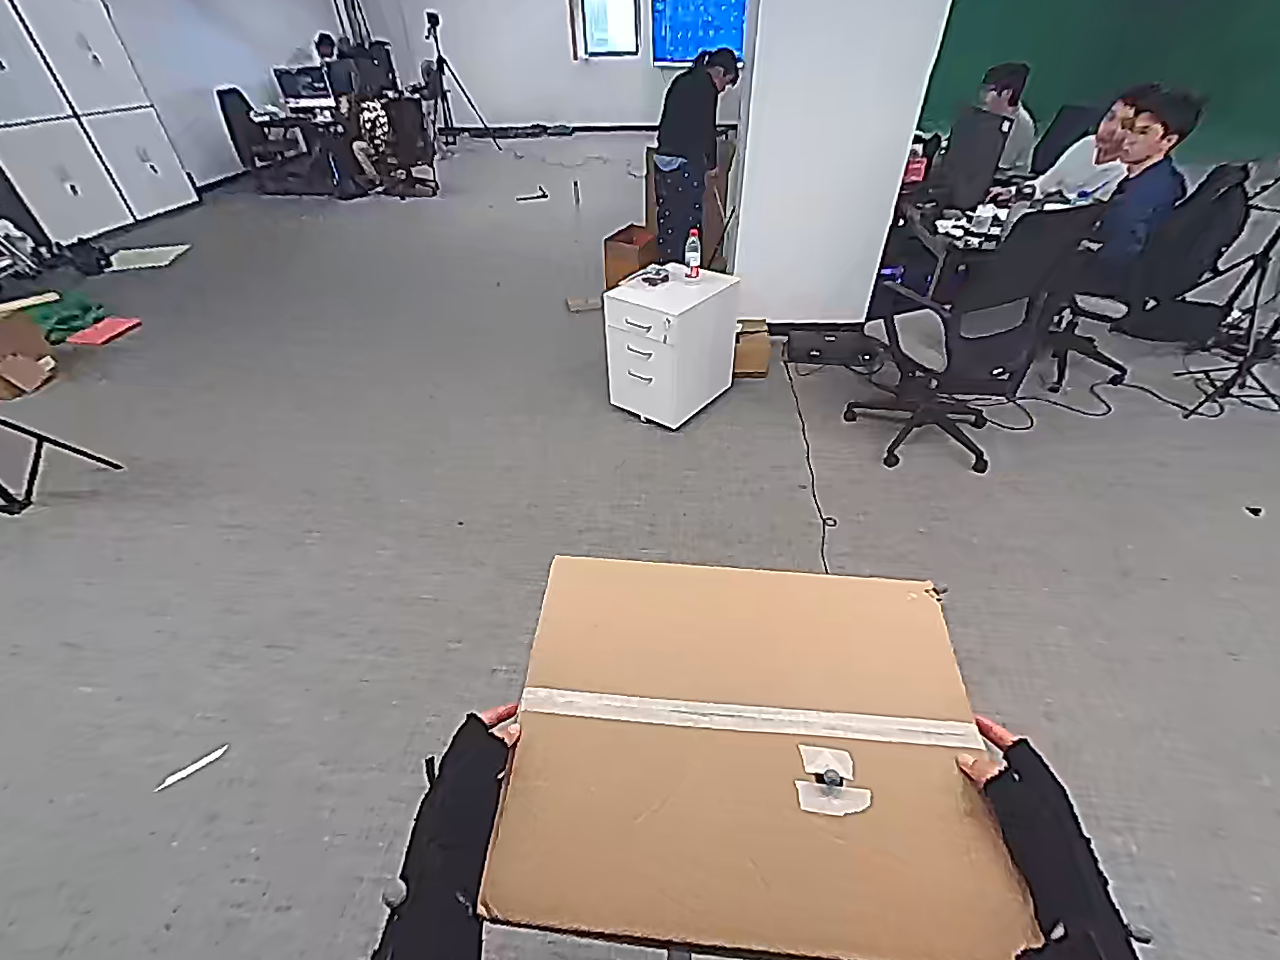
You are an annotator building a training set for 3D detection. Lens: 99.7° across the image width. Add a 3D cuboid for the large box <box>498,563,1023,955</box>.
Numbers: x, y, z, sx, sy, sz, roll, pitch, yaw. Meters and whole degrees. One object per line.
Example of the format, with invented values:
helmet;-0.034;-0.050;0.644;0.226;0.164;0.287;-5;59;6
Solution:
large box;0.096;0.316;0.613;0.408;0.320;0.320;4;50;3
